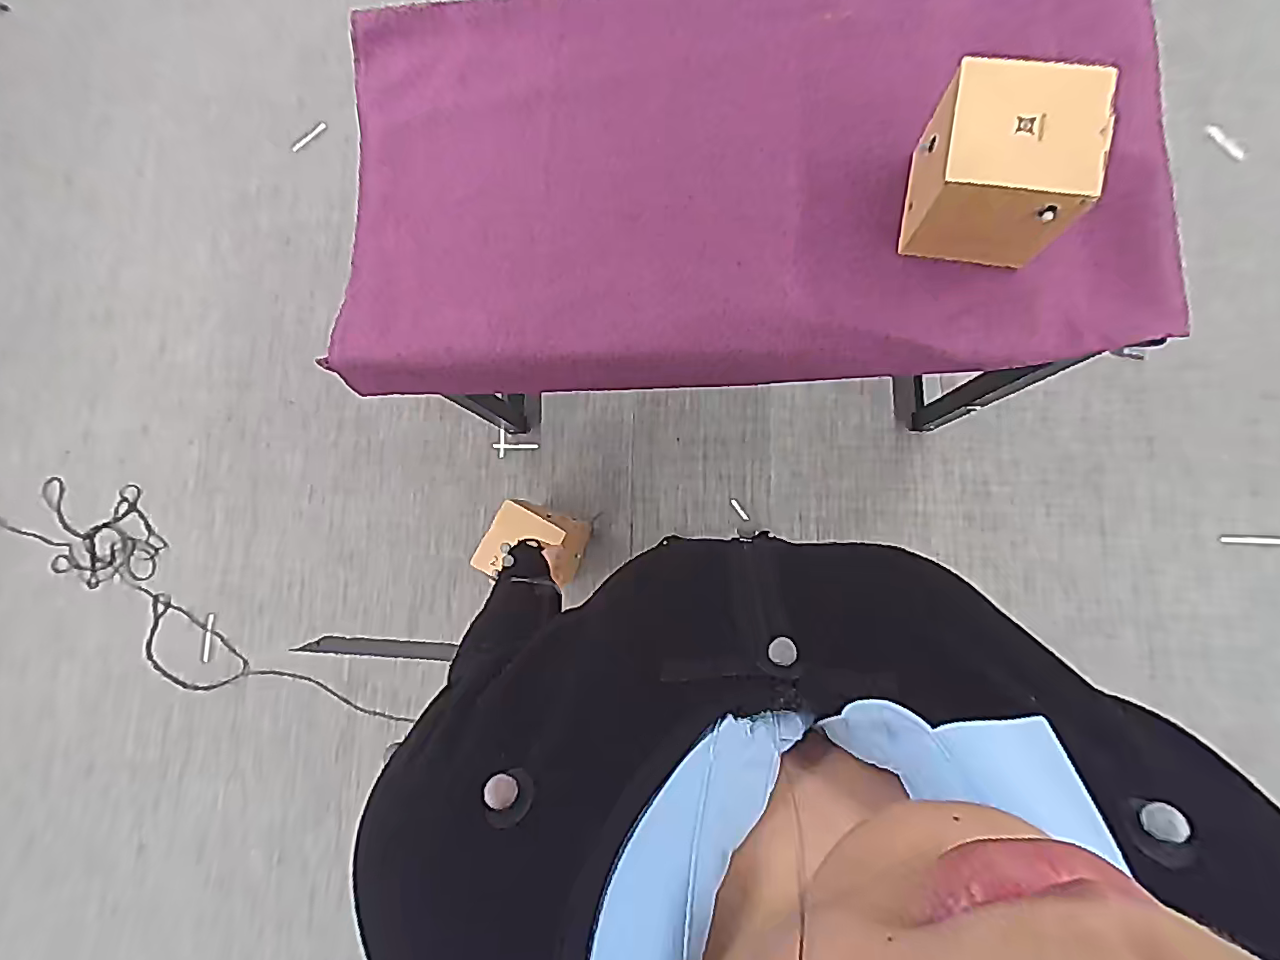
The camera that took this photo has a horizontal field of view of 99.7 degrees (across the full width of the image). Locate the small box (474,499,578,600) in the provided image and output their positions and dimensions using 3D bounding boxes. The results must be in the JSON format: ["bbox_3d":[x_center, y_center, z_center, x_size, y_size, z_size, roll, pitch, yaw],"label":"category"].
[{"bbox_3d":[-0.262,0.162,1.301,0.168,0.176,0.179,29,88,7],"label":"small box"}]

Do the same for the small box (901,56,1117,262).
[{"bbox_3d":[0.471,-0.412,0.717,0.179,0.176,0.168,10,85,7],"label":"small box"}]
